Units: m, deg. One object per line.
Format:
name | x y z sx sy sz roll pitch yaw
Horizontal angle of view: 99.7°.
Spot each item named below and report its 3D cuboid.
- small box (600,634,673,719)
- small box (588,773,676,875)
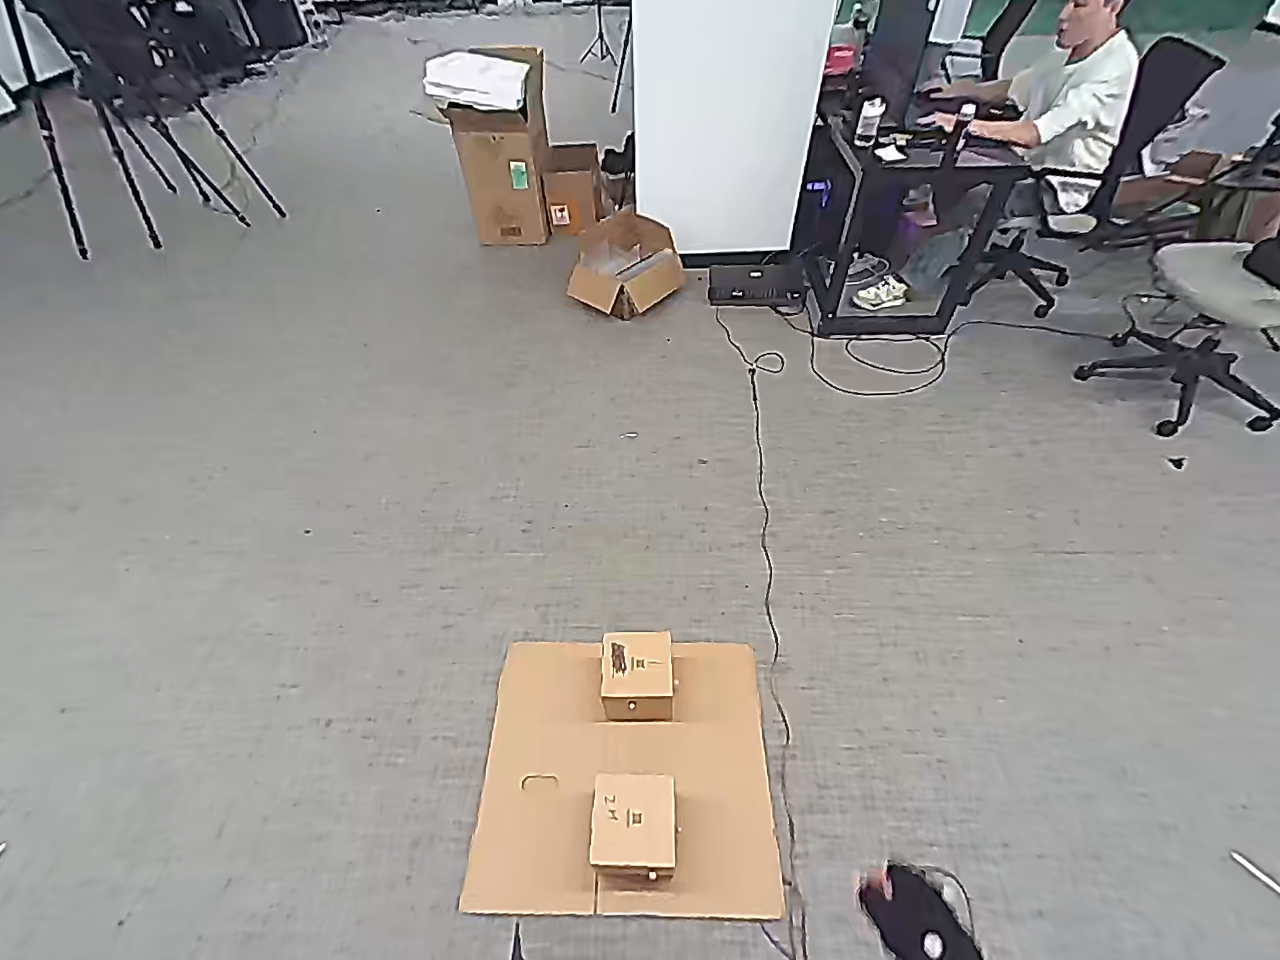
small box | -0.004 0.513 1.406 0.179 0.176 0.168 -1 49 2
small box | -0.010 0.759 1.190 0.179 0.176 0.168 0 49 4
